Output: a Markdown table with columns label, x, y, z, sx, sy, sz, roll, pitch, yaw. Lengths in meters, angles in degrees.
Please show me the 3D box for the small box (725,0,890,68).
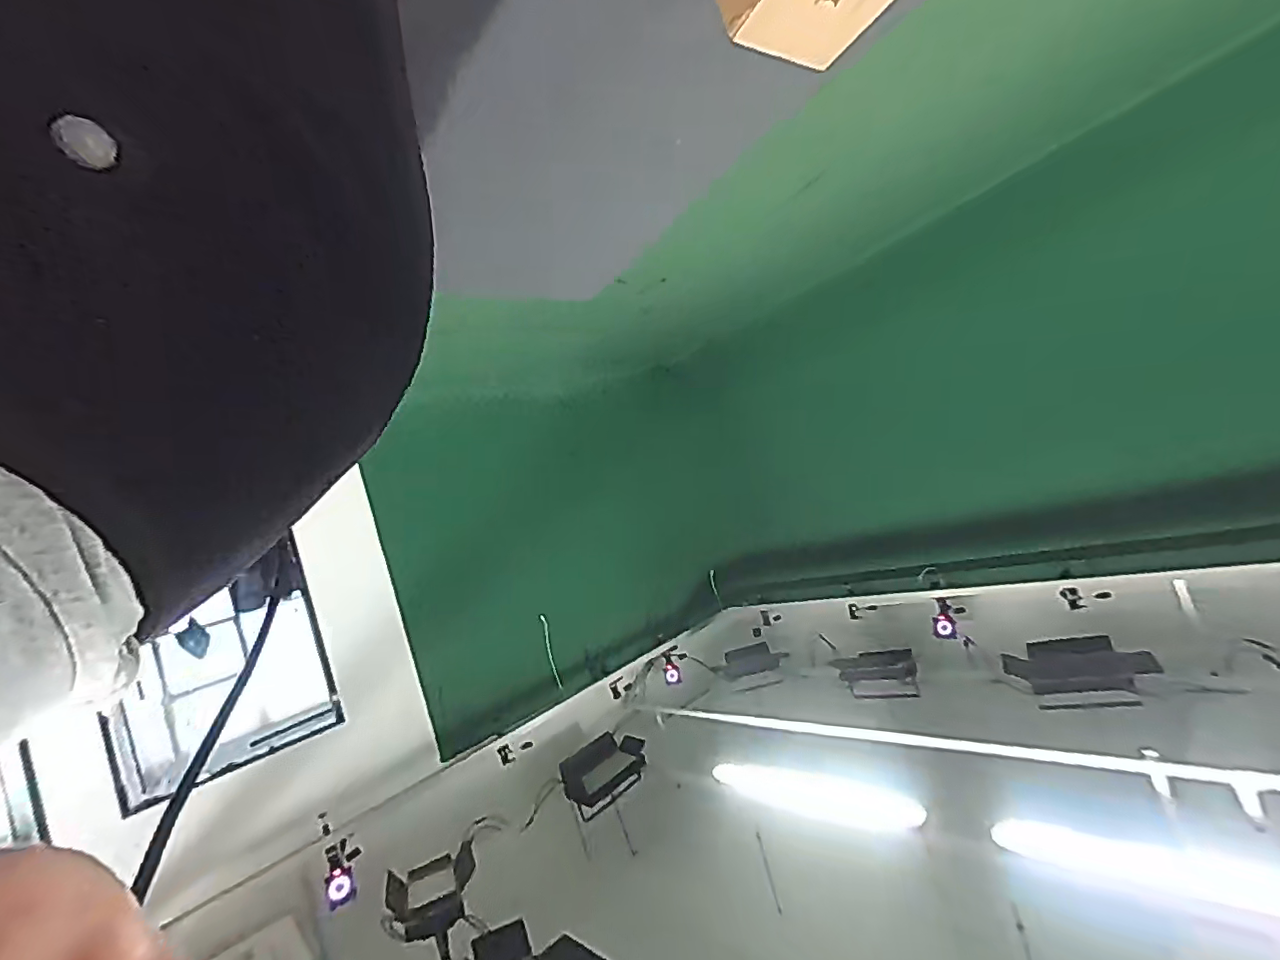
| label | x | y | z | sx | sy | sz | roll | pitch | yaw |
| --- | --- | --- | --- | --- | --- | --- | --- | --- | --- |
| small box | 0.183 | -0.596 | 0.575 | 0.179 | 0.176 | 0.168 | -18 | 179 | -33 |
